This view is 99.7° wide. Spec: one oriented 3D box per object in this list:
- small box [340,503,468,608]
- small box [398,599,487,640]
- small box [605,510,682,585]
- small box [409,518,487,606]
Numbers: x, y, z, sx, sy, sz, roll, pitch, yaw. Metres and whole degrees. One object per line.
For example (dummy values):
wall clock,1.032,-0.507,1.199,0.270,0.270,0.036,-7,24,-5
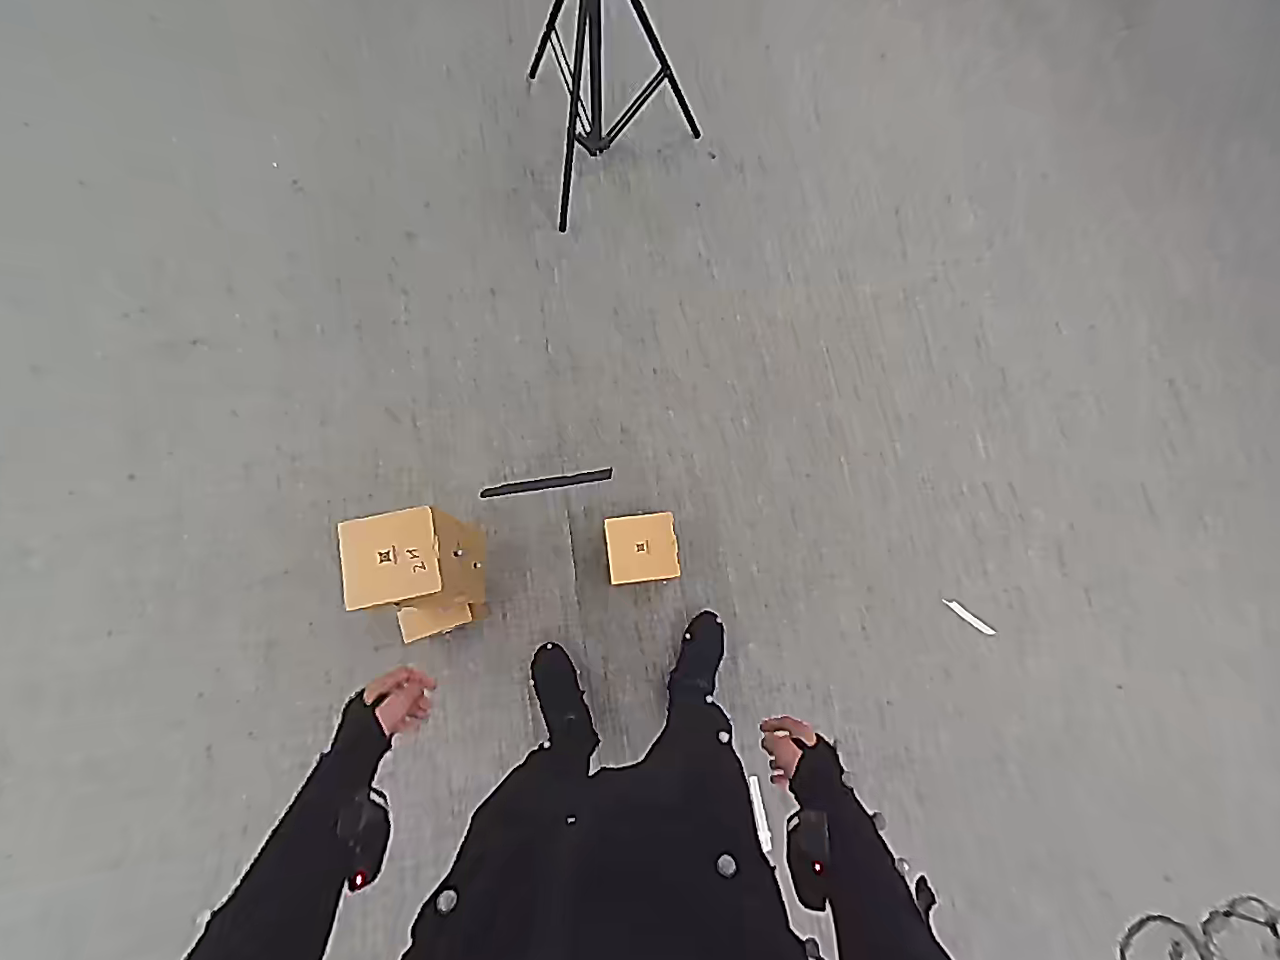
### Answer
small box,-0.457,0.154,1.062,0.179,0.176,0.168,-11,77,-5
small box,-0.502,0.291,1.364,0.168,0.176,0.179,-18,79,-7
small box,0.004,0.182,1.419,0.179,0.176,0.168,-6,78,-6
small box,-0.449,0.190,1.223,0.168,0.176,0.179,-4,77,-3
